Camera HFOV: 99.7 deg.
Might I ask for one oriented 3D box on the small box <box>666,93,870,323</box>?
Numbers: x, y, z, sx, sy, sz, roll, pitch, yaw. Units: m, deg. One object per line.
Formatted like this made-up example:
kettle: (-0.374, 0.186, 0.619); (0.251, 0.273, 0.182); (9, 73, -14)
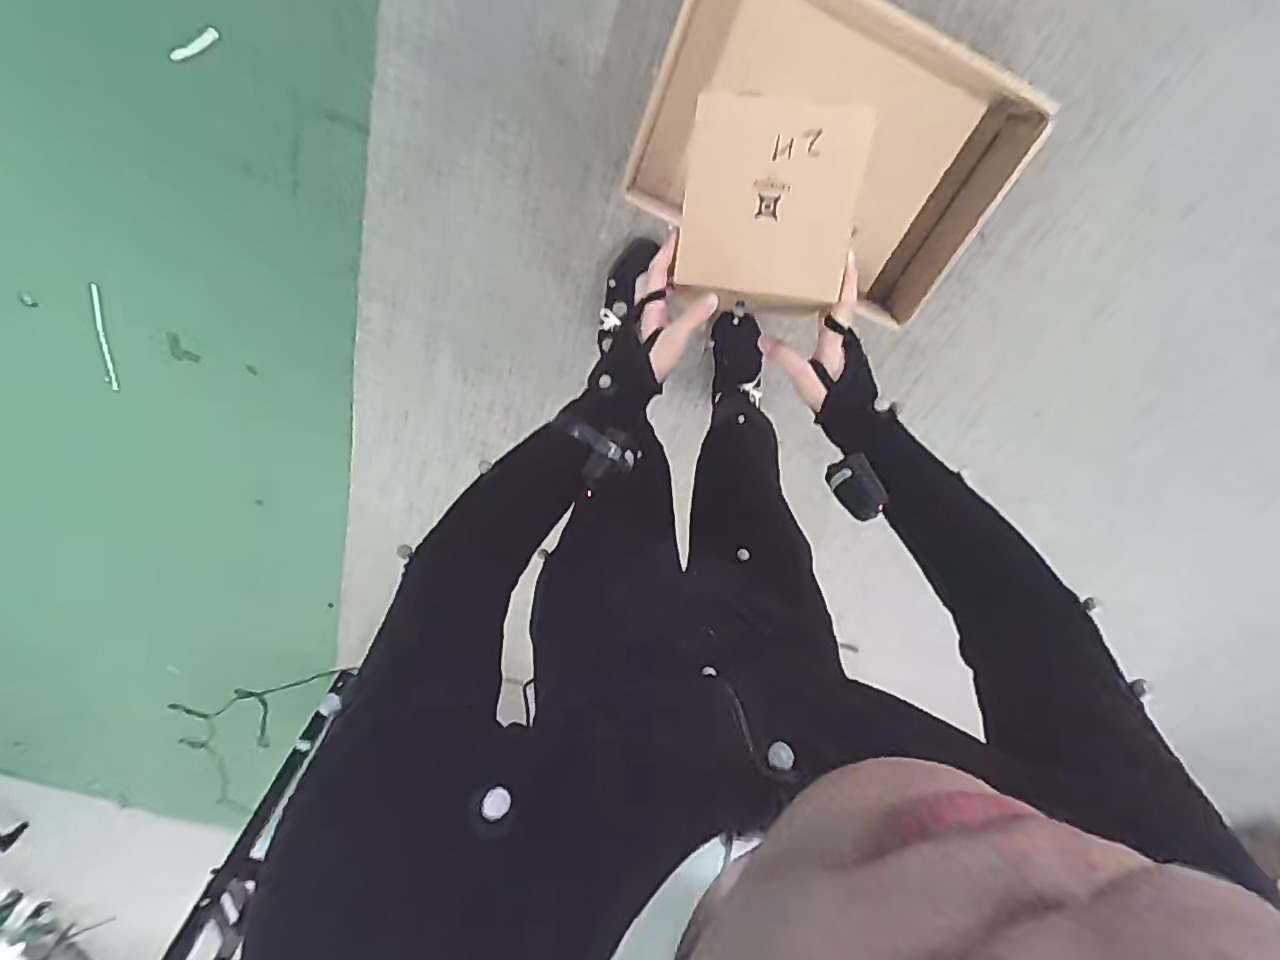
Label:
small box: (0.125, -0.275, 0.588); (0.168, 0.176, 0.179); (8, 100, 3)
